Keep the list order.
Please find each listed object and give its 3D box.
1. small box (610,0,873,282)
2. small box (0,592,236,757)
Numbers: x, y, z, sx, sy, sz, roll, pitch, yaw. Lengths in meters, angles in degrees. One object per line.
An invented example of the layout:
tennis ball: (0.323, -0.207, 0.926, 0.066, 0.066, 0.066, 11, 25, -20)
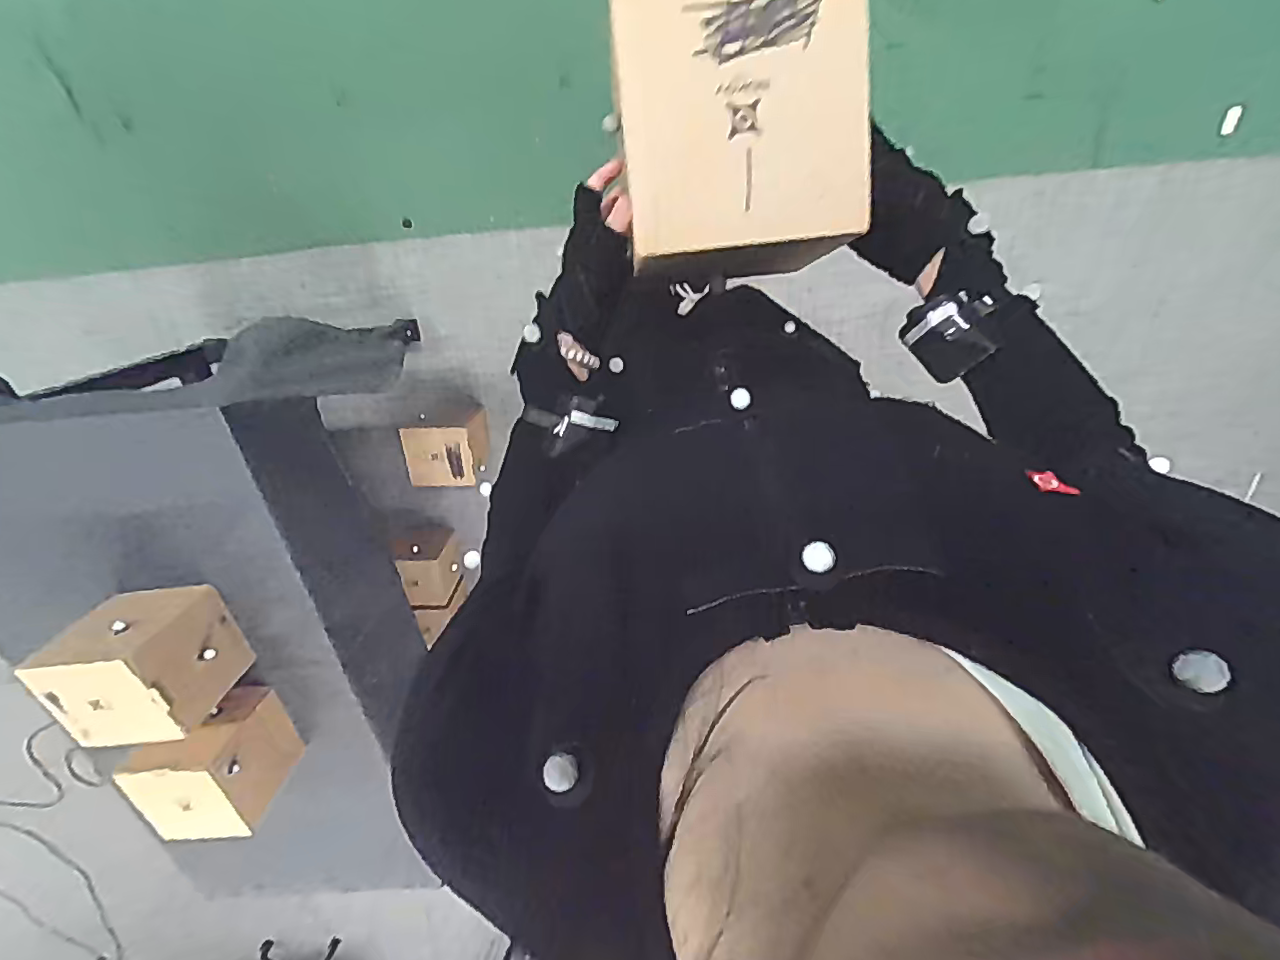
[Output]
small box: (0.065, -0.267, 0.426, 0.168, 0.176, 0.179, -7, 103, 0)
small box: (-0.767, 0.287, 0.823, 0.179, 0.176, 0.168, -7, 116, 3)
